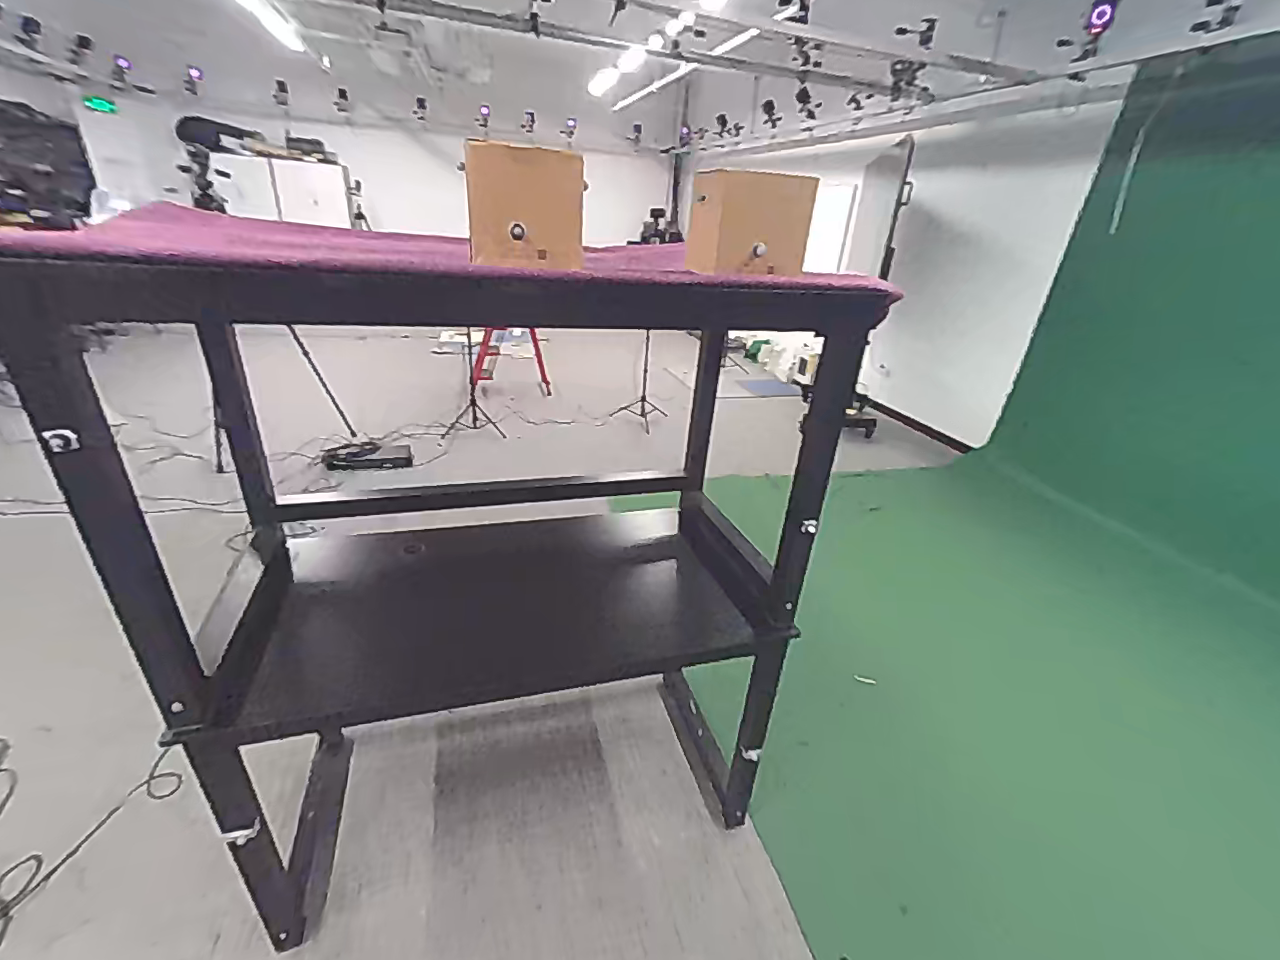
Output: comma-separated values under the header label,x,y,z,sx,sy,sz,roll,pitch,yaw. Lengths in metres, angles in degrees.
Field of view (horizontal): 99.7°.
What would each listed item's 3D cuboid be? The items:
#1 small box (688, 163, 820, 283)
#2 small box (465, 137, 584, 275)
label,x,y,z,sx,sy,sz,roll,pitch,yaw
small box,0.189,-0.454,0.960,0.168,0.176,0.179,-3,28,-12
small box,-0.183,-0.428,0.860,0.168,0.176,0.179,-2,26,-13
